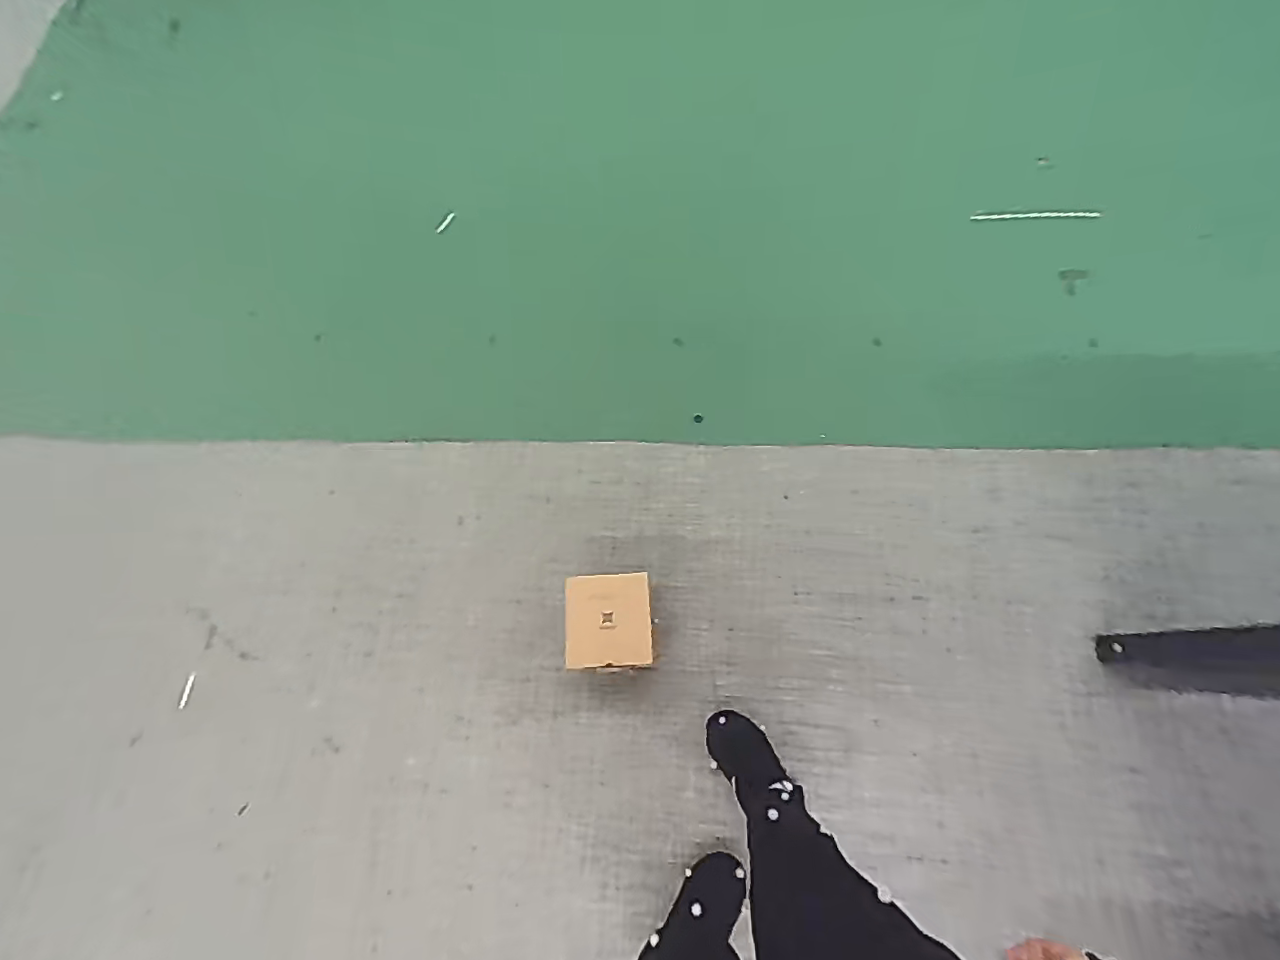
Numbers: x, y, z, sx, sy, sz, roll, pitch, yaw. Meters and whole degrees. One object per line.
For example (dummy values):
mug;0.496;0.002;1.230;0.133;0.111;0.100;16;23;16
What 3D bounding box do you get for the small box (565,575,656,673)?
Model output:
small box;-0.056;0.300;1.109;0.168;0.176;0.179;-4;70;3
